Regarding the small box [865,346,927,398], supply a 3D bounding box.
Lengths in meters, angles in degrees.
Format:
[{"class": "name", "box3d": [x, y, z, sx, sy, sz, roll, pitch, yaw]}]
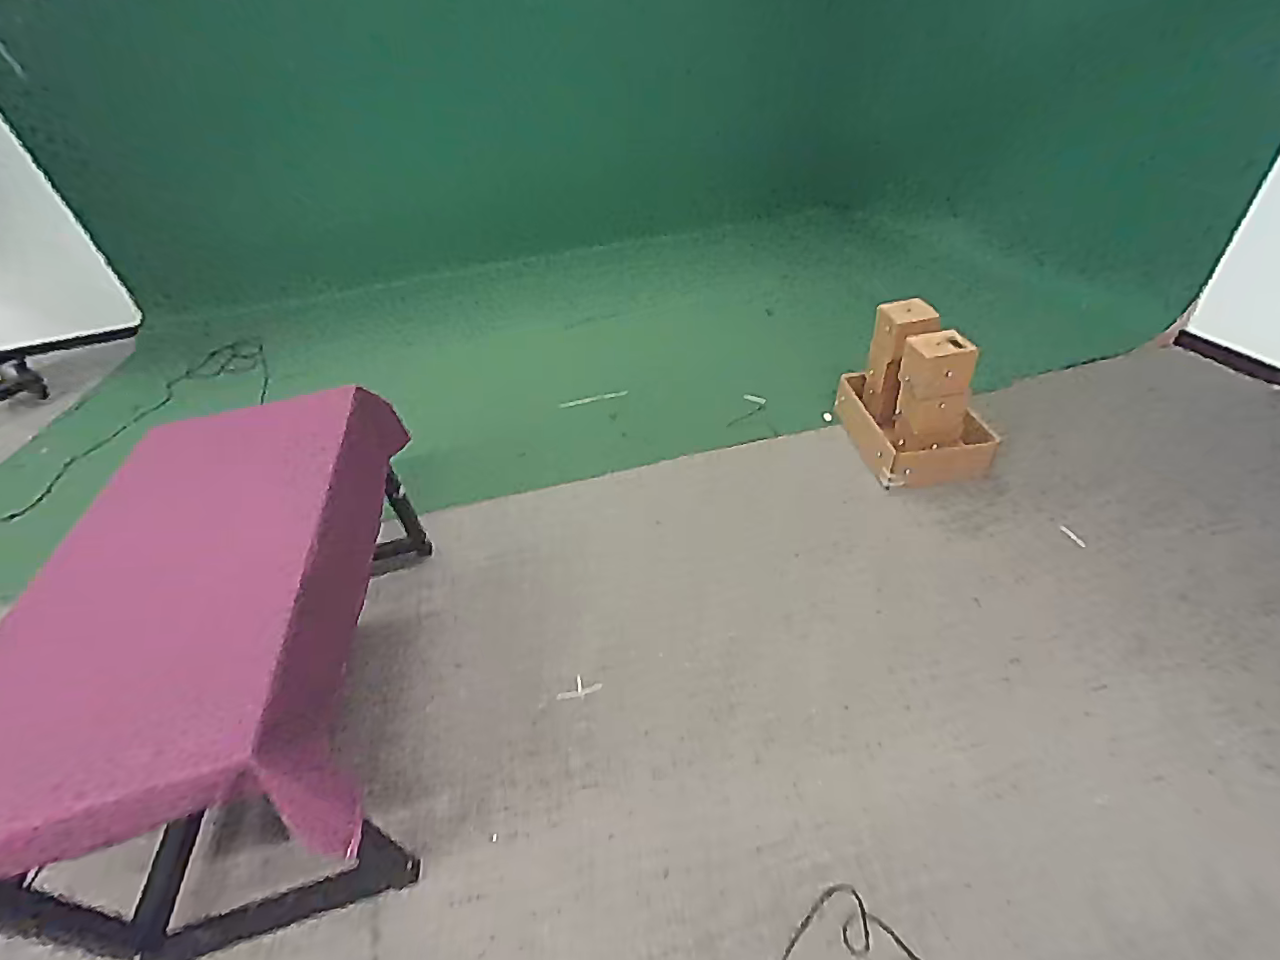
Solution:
[{"class": "small box", "box3d": [1.080, -0.469, 2.293, 0.179, 0.176, 0.168, -9, 40, 1]}]

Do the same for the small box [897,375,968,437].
[{"class": "small box", "box3d": [1.100, -0.278, 2.054, 0.179, 0.176, 0.168, -8, 39, 0]}]

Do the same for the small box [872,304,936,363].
[{"class": "small box", "box3d": [1.056, -0.584, 2.176, 0.168, 0.176, 0.179, -9, 40, 0]}]
